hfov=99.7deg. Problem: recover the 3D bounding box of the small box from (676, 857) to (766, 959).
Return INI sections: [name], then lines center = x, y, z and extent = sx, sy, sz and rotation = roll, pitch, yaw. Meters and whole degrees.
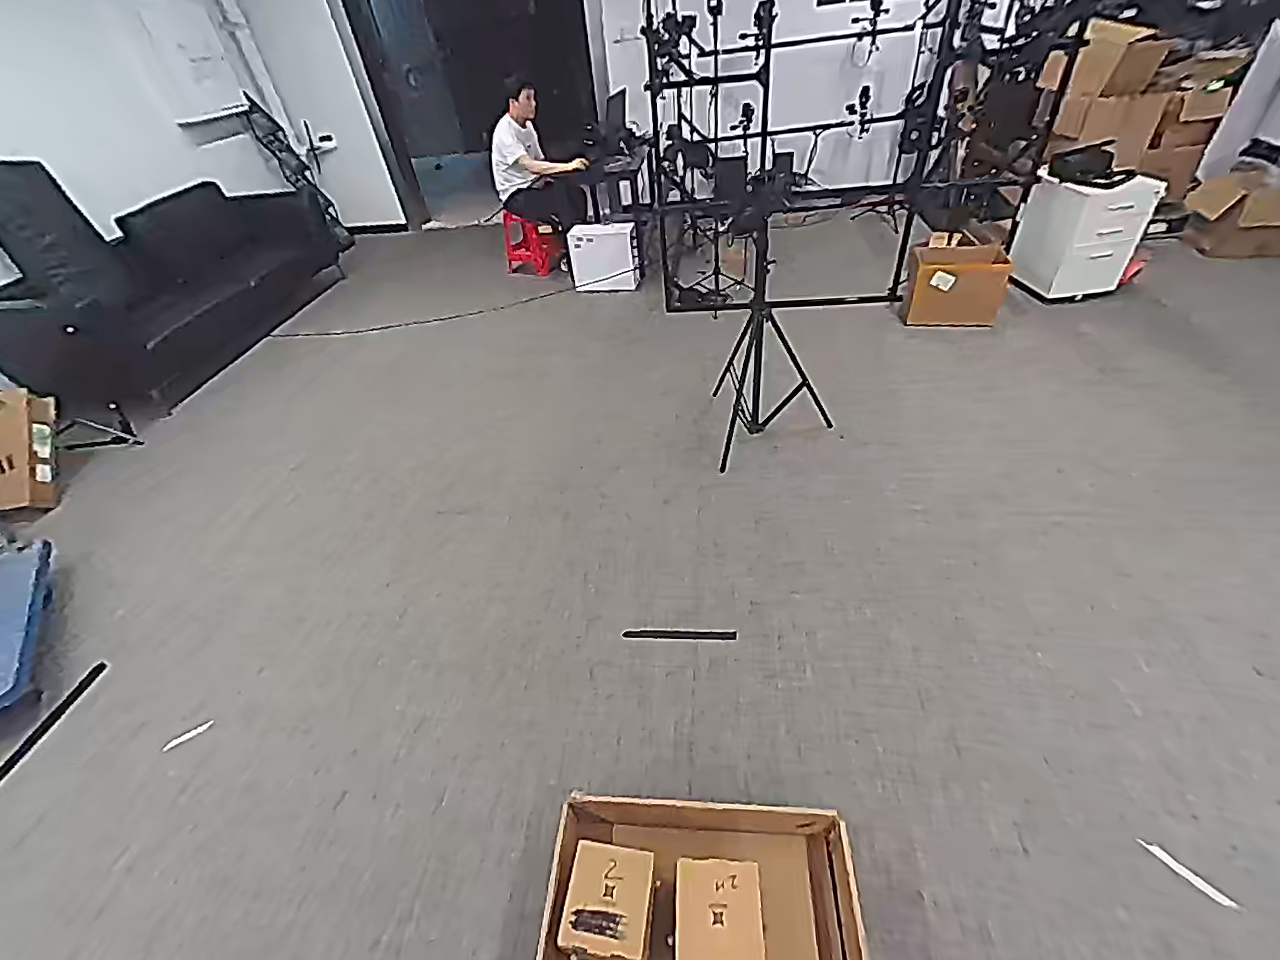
[small box]
center = 0.162, 0.888, 1.086
extent = 0.168, 0.176, 0.179
rotation = -2, 41, 7
